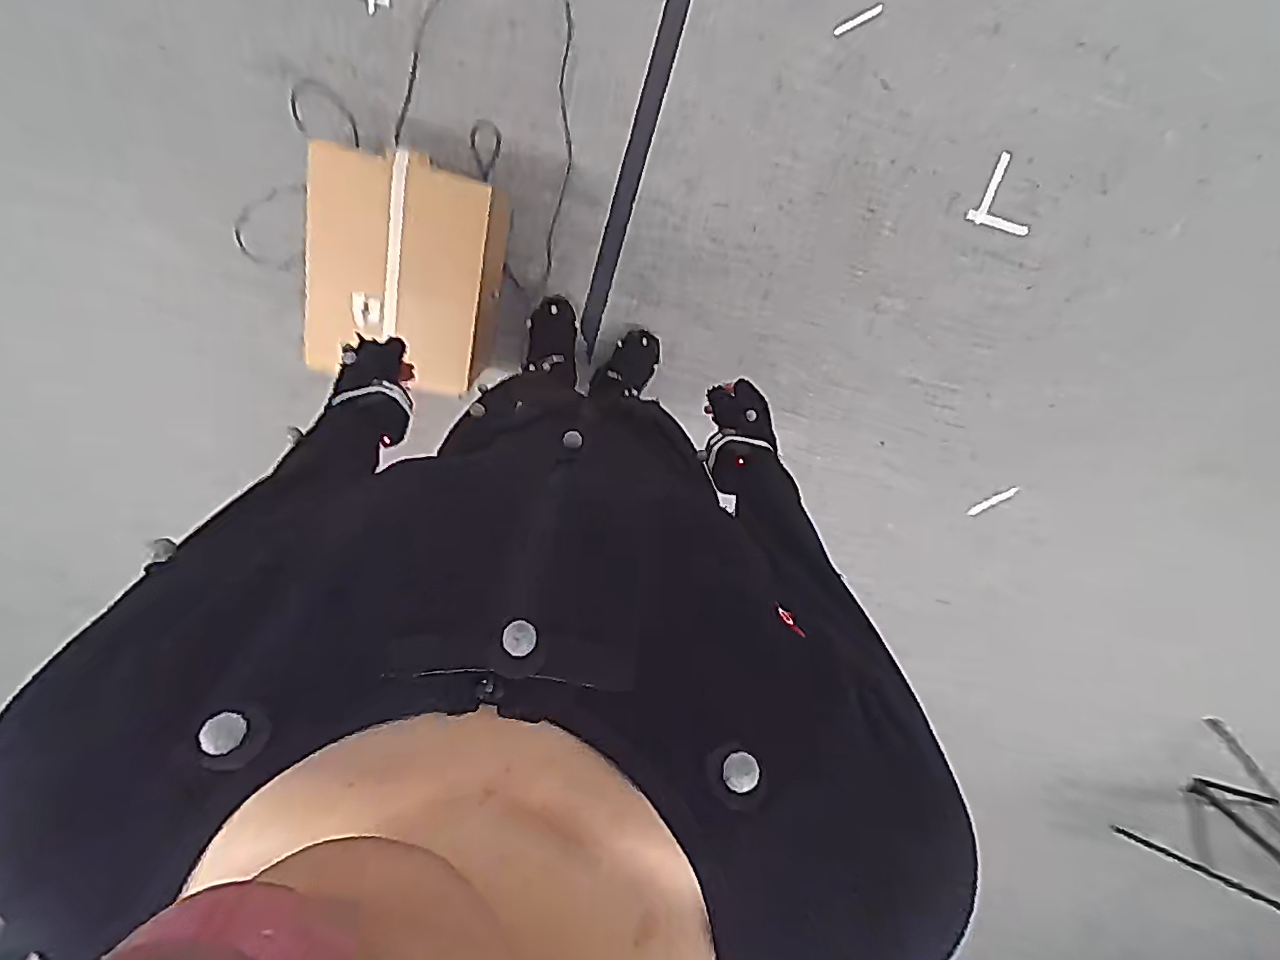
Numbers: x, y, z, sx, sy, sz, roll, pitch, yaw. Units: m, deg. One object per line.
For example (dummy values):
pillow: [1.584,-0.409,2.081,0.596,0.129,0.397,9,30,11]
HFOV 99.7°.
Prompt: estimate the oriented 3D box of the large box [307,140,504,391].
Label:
large box: [-0.486,-0.450,1.170,0.320,0.320,0.408,10,112,-10]
